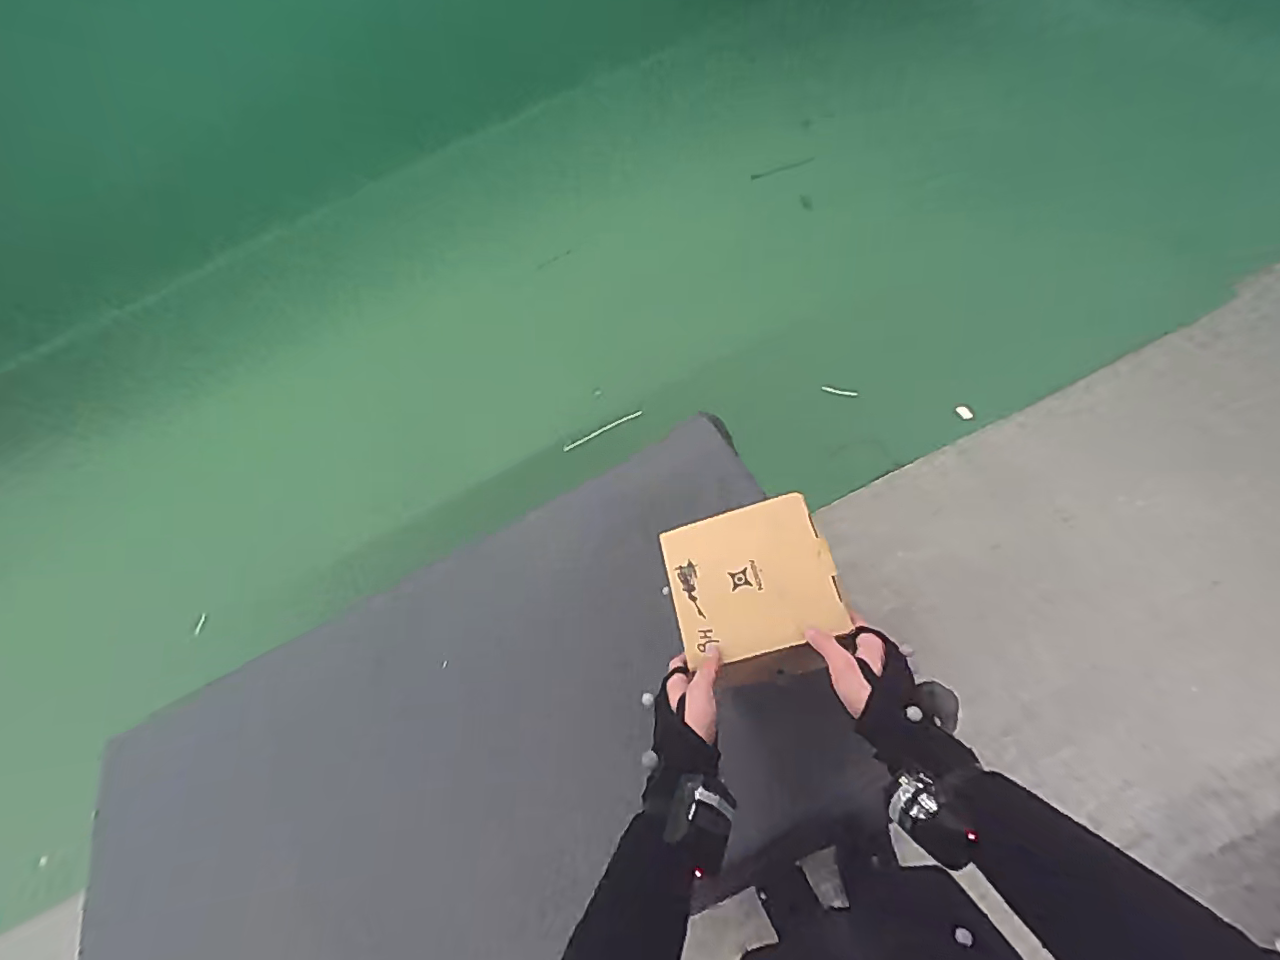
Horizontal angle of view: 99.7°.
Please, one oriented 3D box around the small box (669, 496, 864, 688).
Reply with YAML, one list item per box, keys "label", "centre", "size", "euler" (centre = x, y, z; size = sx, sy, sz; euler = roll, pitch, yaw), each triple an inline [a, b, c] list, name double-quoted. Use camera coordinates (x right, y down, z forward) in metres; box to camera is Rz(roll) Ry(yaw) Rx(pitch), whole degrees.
- label: "small box"
  centre: [0.147, 0.143, 0.653]
  size: [0.179, 0.176, 0.168]
  euler: [-16, 59, 9]
